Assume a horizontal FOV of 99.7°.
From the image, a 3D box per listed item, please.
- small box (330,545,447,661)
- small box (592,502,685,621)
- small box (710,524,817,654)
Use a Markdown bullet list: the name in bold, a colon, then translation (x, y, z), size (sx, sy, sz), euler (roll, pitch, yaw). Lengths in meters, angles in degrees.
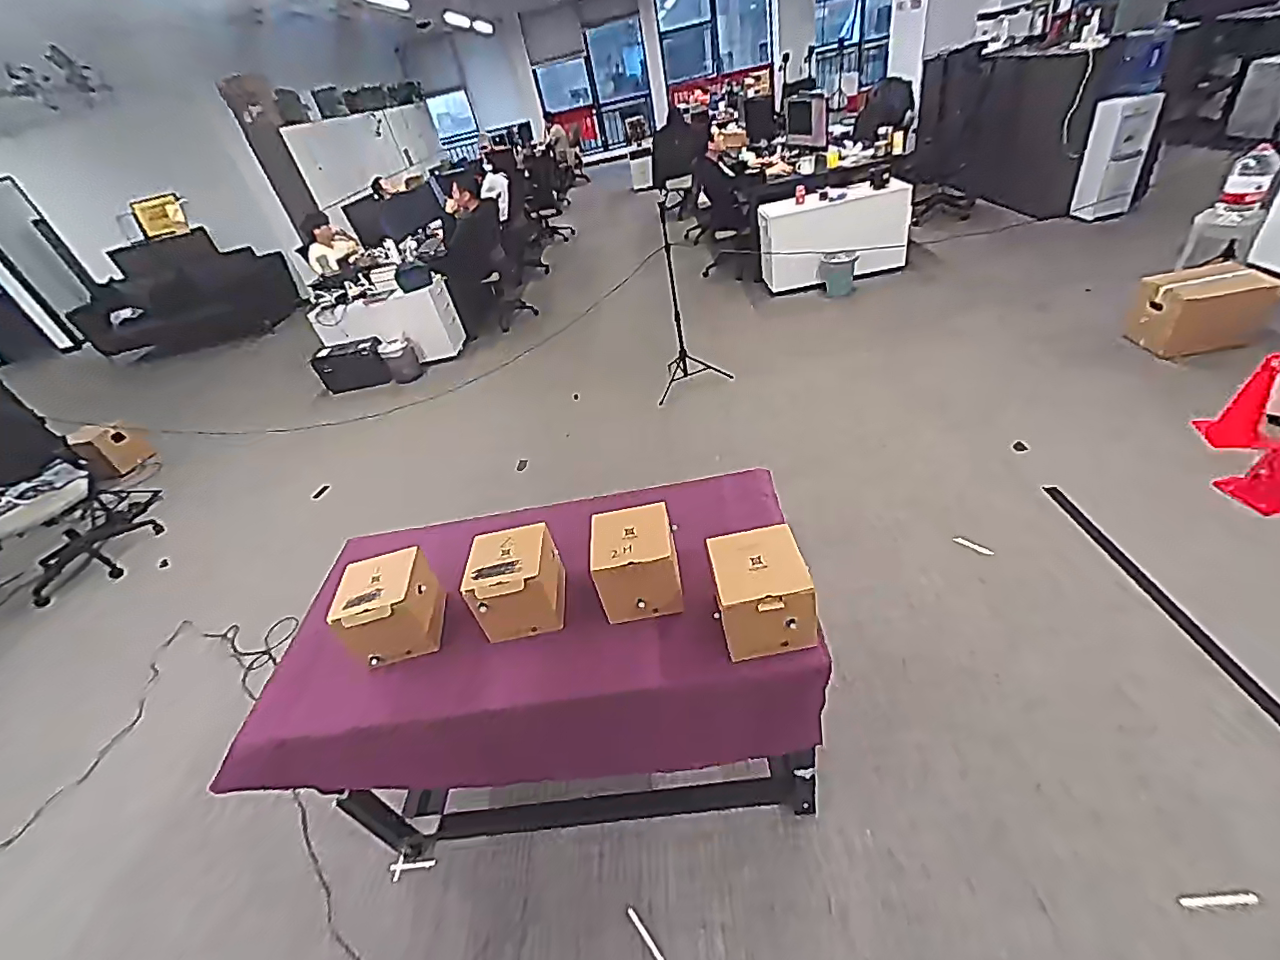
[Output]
- **small box**: translation (-0.548, 0.280, 1.206), size (0.168, 0.176, 0.179), euler (-15, 36, -2)
- **small box**: translation (-0.001, 0.176, 1.165), size (0.168, 0.176, 0.179), euler (-11, 37, 5)
- **small box**: translation (0.236, 0.215, 1.038), size (0.168, 0.176, 0.179), euler (-11, 36, 4)
